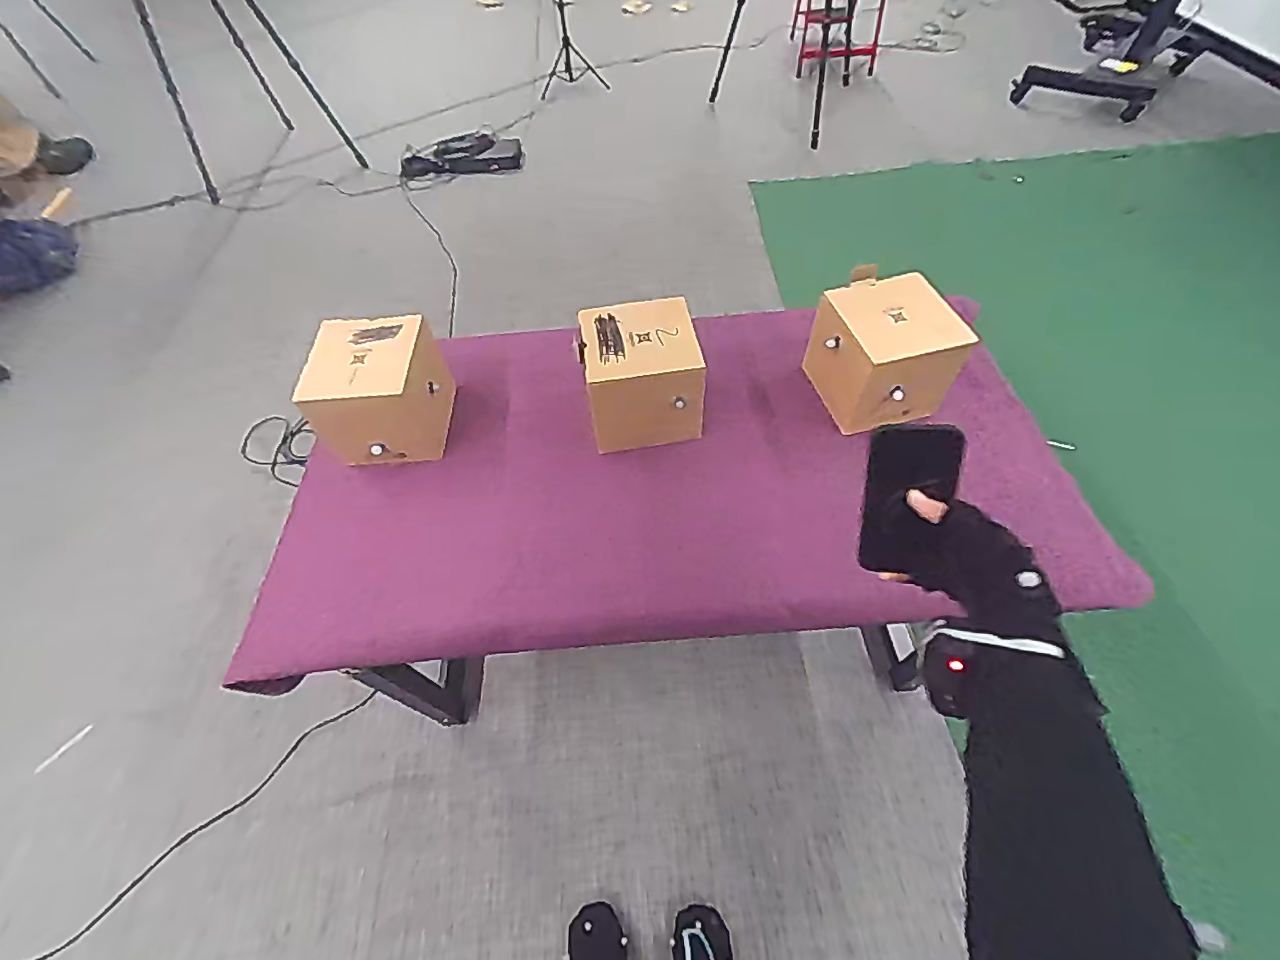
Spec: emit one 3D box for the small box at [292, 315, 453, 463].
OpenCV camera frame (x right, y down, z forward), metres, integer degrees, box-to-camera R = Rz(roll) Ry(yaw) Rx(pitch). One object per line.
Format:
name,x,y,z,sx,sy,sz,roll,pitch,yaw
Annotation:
small box,-0.421,-0.147,0.891,0.168,0.176,0.179,-3,57,1

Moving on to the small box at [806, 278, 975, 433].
small box,0.391,-0.194,0.883,0.168,0.176,0.179,-13,55,-5
